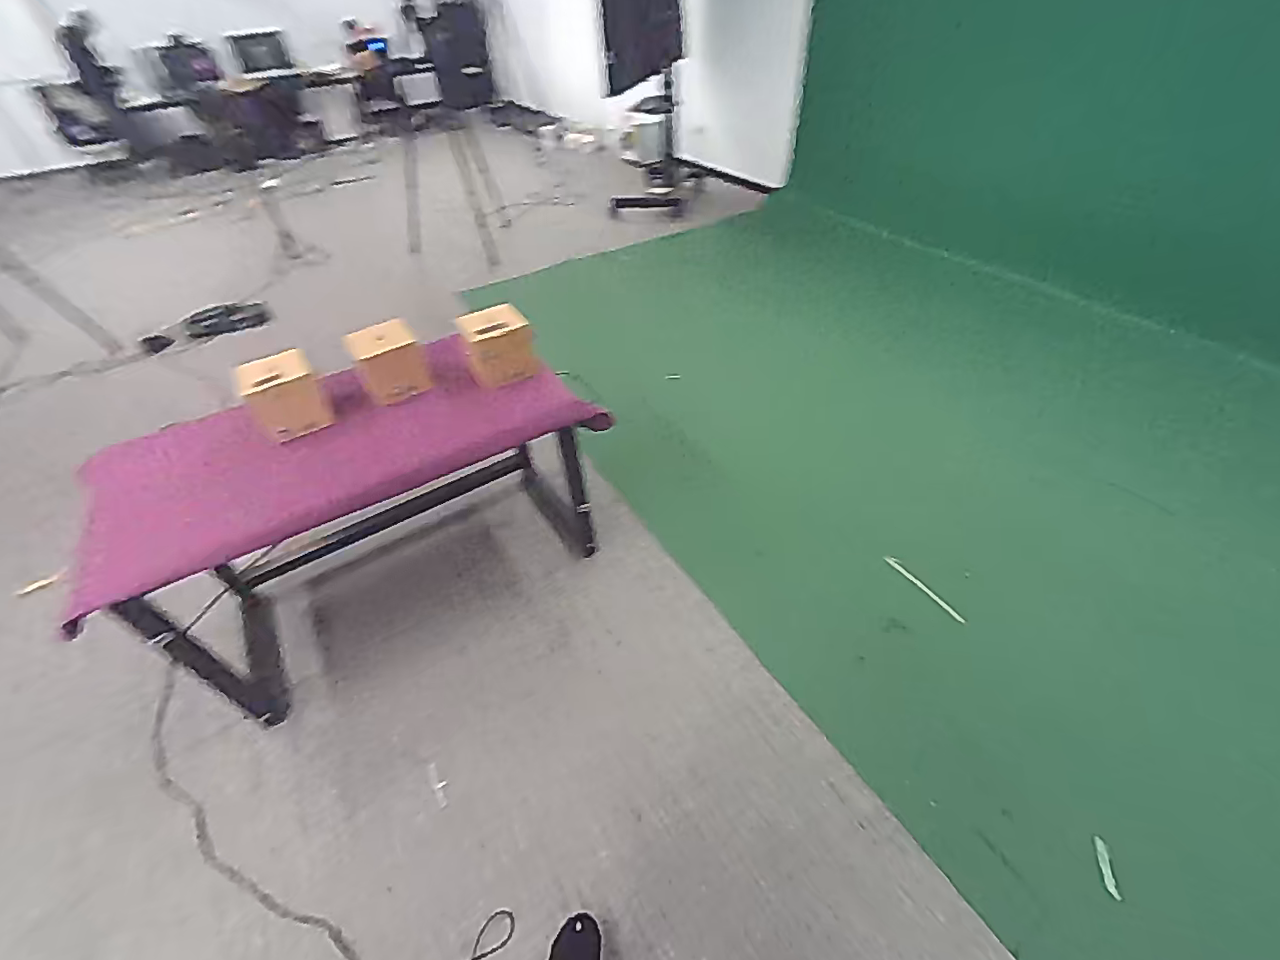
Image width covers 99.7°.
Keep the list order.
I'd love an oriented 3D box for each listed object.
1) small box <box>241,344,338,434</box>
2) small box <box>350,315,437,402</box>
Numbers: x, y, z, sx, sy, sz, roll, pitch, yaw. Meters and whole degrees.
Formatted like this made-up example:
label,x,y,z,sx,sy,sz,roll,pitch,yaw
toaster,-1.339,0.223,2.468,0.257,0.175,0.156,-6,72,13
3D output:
label,x,y,z,sx,sy,sz,roll,pitch,yaw
small box,-0.975,-0.249,1.512,0.168,0.176,0.179,-26,48,-21
small box,-0.734,-0.361,1.614,0.168,0.176,0.179,-27,50,-21
